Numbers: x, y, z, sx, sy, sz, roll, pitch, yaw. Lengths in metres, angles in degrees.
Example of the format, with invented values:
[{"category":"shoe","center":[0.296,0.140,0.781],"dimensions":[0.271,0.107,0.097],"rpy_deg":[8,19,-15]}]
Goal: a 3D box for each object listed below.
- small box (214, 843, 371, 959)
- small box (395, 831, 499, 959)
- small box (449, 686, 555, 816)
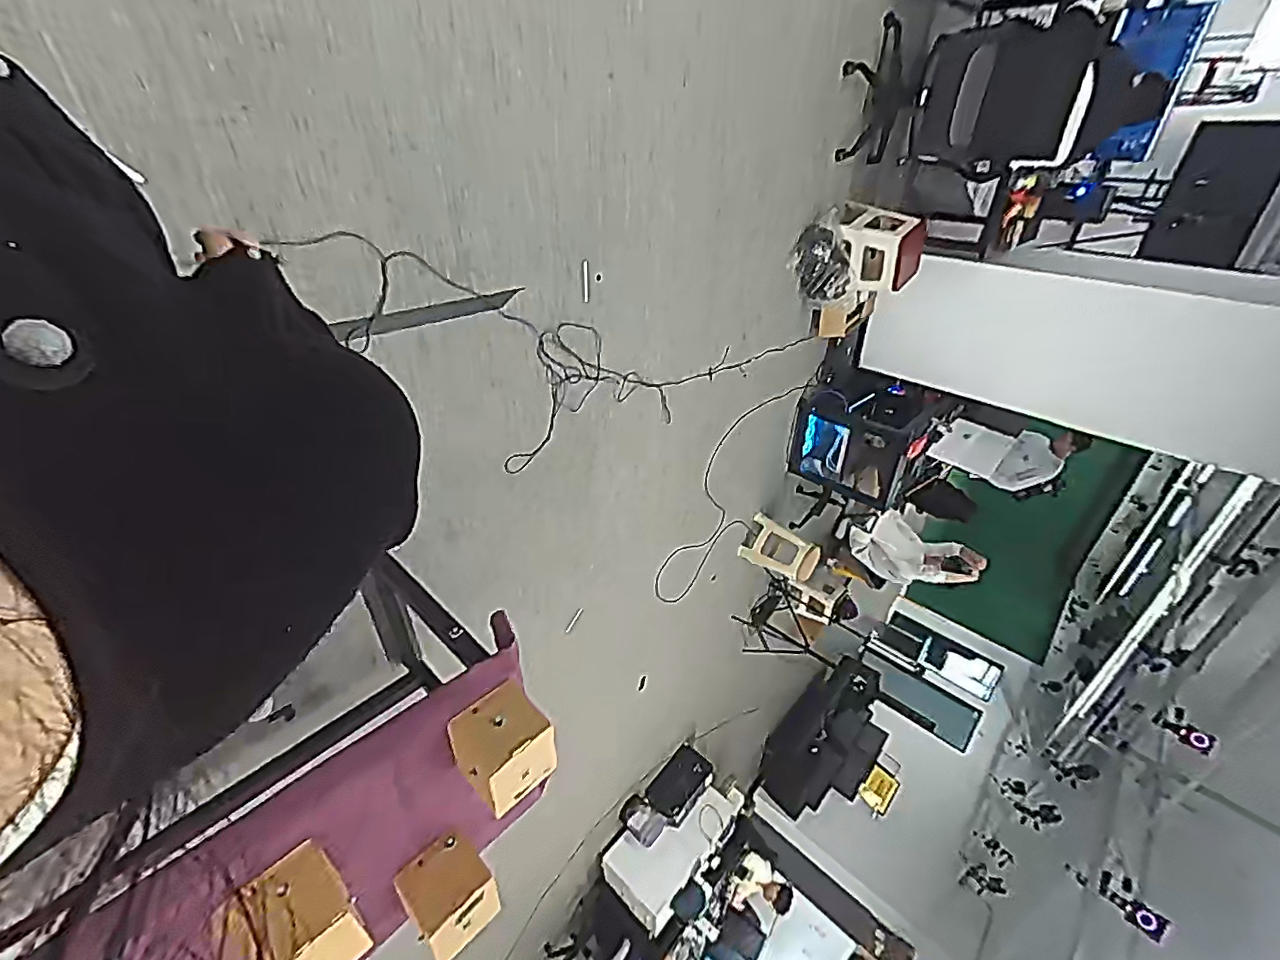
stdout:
[{"category":"small box","center":[-0.620,0.807,0.972],"dimensions":[0.168,0.176,0.179],"rpy_deg":[-31,135,-37]},{"category":"small box","center":[-0.461,0.989,1.294],"dimensions":[0.168,0.176,0.179],"rpy_deg":[-27,132,-39]},{"category":"small box","center":[-0.312,0.599,1.223],"dimensions":[0.168,0.176,0.179],"rpy_deg":[-28,133,-39]}]
